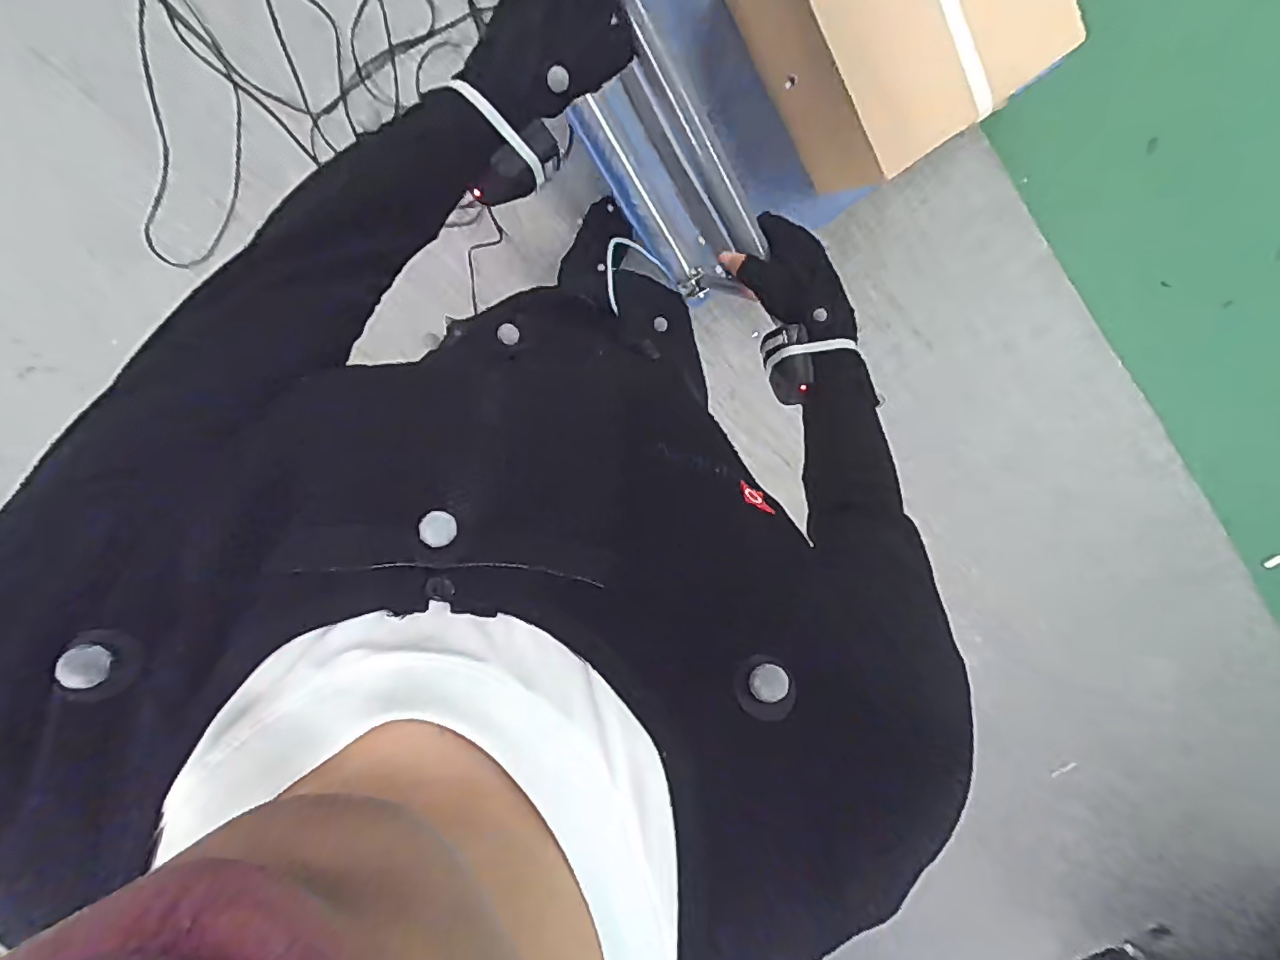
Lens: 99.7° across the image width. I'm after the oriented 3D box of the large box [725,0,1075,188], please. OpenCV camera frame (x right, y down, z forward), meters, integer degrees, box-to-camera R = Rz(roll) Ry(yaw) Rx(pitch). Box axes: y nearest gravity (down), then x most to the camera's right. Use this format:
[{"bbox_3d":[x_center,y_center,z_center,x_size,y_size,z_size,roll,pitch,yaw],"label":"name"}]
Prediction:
[{"bbox_3d":[0.381,-0.758,0.870,0.320,0.320,0.408,-34,111,11],"label":"large box"}]
